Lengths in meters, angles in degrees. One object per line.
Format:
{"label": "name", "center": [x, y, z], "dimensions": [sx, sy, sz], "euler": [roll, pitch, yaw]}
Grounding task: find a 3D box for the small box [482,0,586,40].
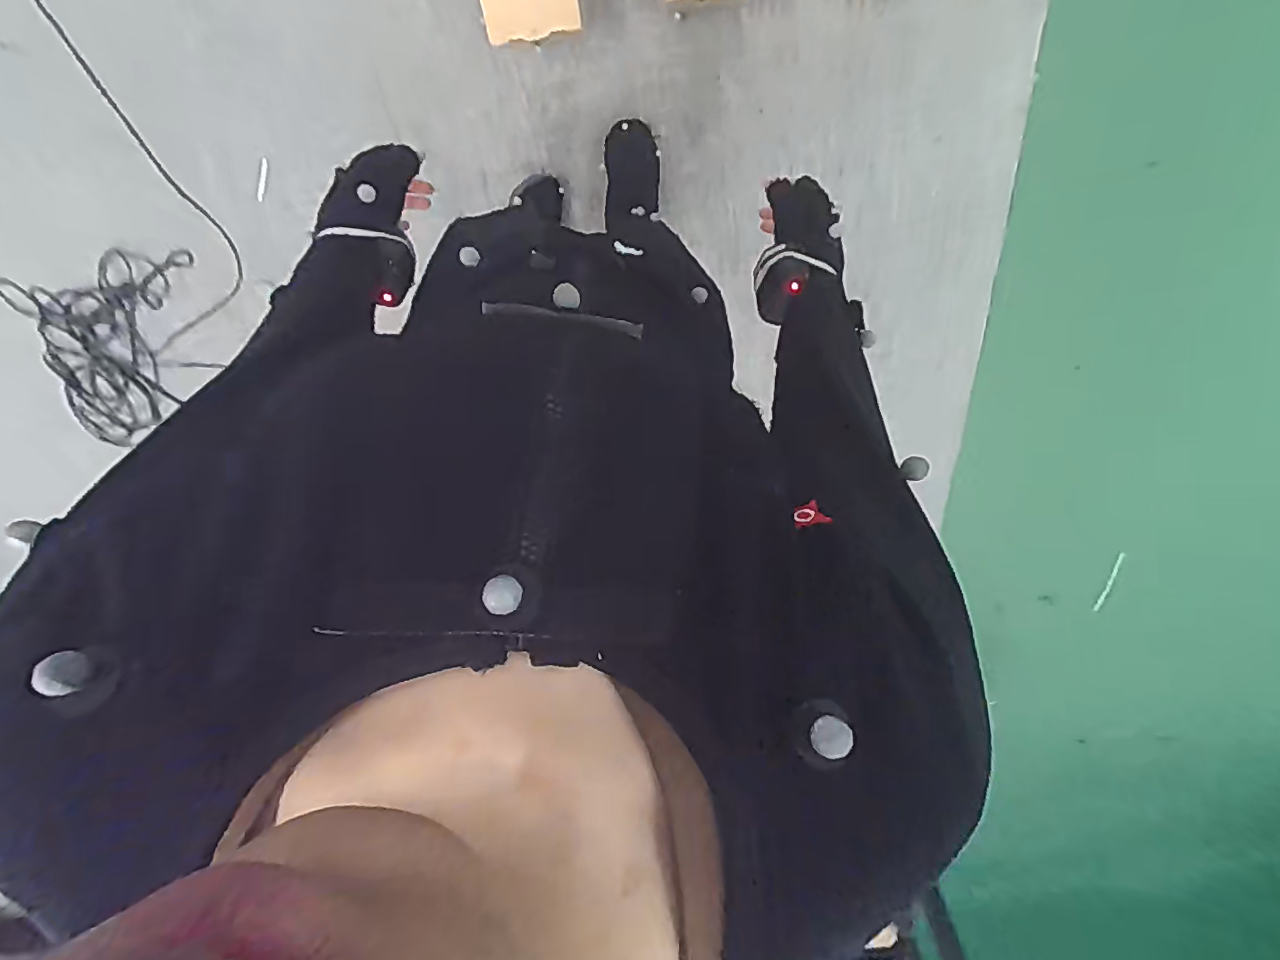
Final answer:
{"label": "small box", "center": [-0.194, -0.898, 0.943], "dimensions": [0.168, 0.176, 0.179], "euler": [-7, 127, 5]}
